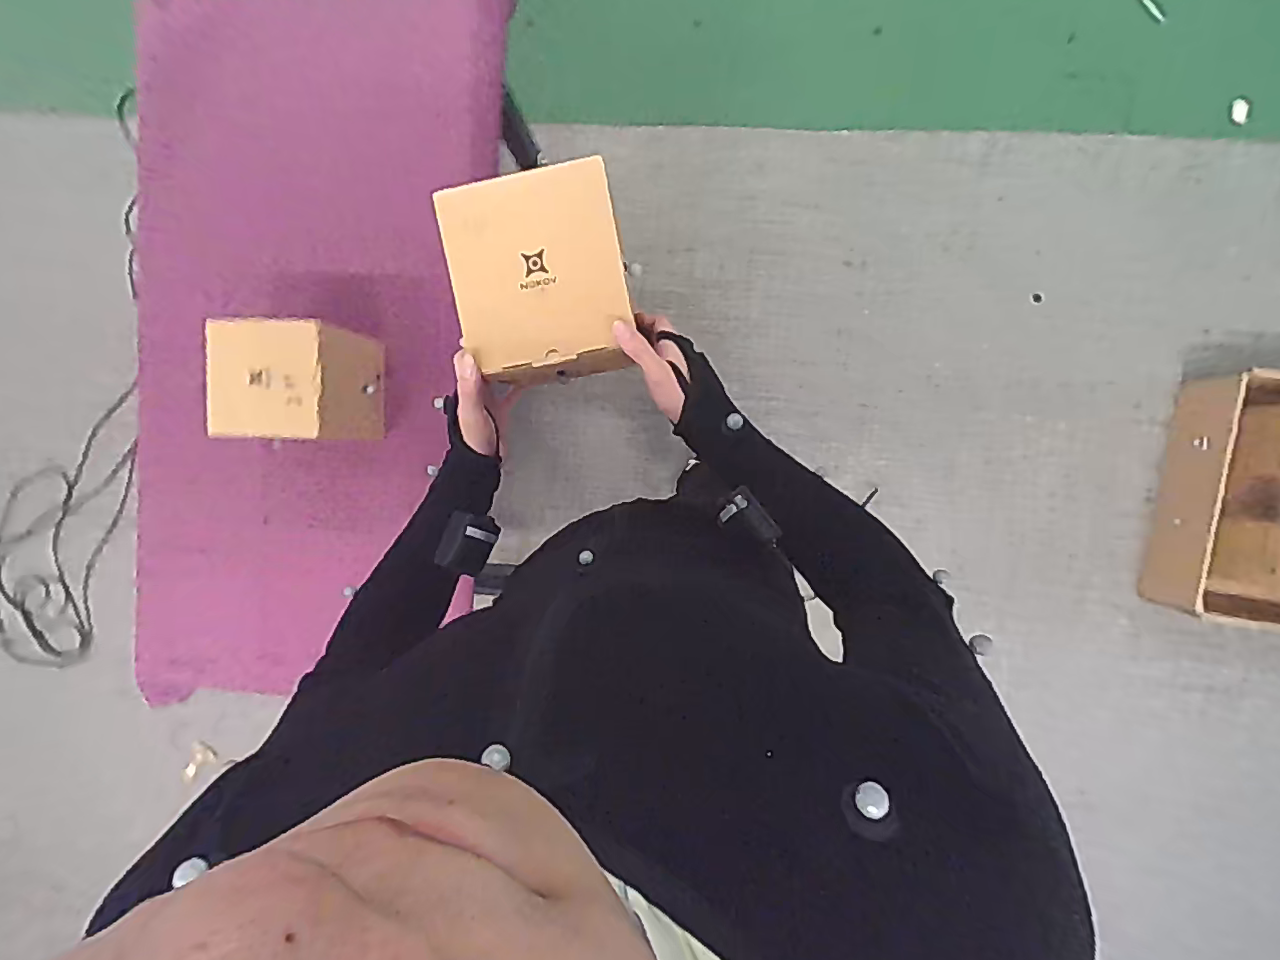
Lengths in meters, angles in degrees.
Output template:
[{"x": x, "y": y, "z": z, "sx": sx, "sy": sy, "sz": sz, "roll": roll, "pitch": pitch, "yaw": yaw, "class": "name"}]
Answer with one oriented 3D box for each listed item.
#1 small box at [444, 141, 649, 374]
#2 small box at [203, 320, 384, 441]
[{"x": -0.084, "y": -0.218, "z": 0.578, "sx": 0.168, "sy": 0.176, "sz": 0.179, "roll": -10, "pitch": 97, "yaw": 4, "class": "small box"}, {"x": -0.533, "y": -0.147, "z": 0.847, "sx": 0.179, "sy": 0.176, "sz": 0.168, "roll": 2, "pitch": 93, "yaw": 5, "class": "small box"}]
